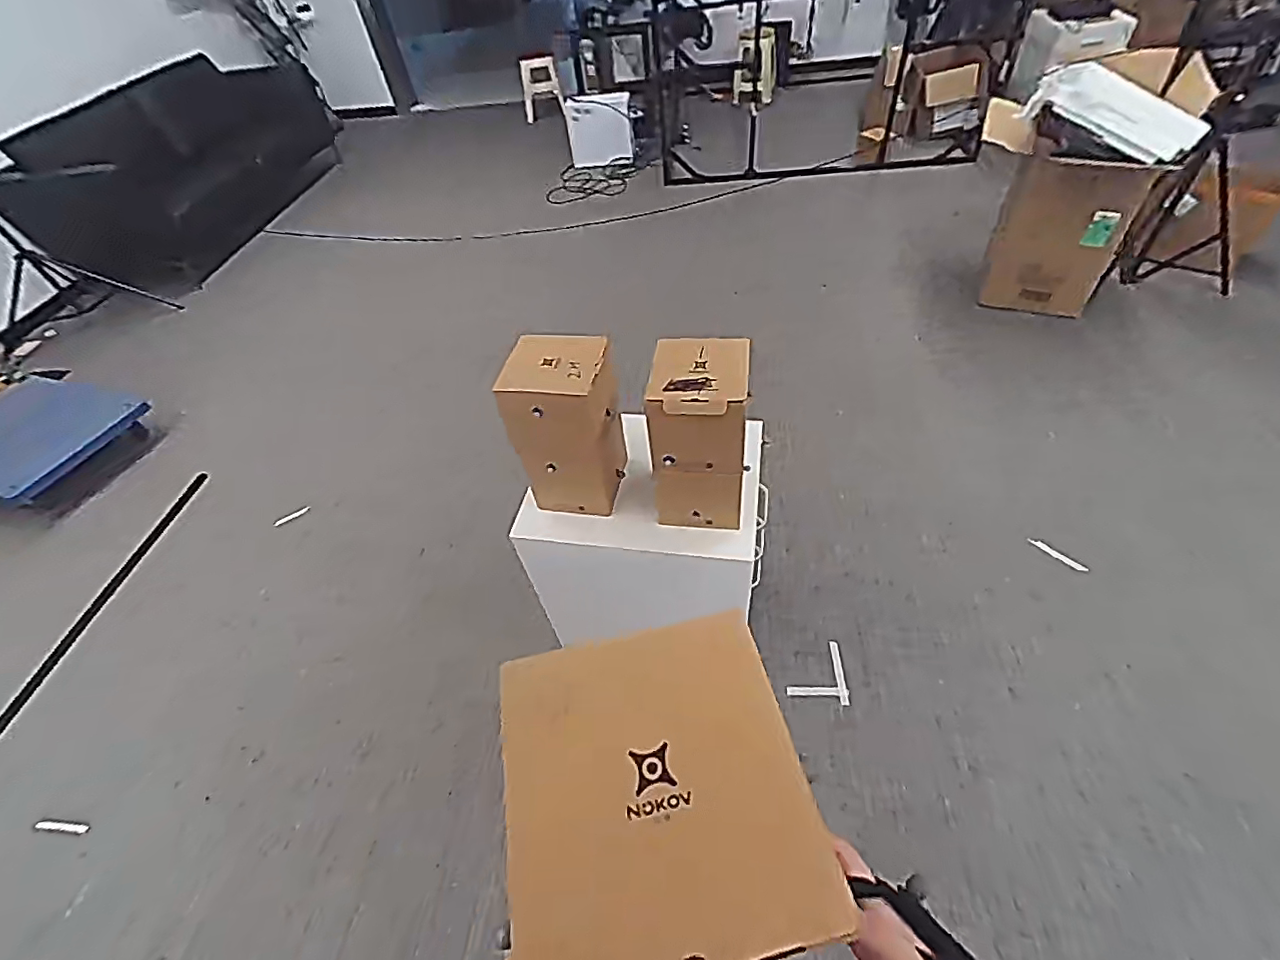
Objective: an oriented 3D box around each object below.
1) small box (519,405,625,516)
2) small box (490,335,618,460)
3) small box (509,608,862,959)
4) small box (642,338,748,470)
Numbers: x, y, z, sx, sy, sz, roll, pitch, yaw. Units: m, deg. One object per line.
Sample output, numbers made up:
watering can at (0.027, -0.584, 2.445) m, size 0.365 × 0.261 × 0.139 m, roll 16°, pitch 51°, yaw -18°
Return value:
small box at (-0.133, -0.049, 1.143) m, size 0.168 × 0.176 × 0.179 m, roll 5°, pitch 49°, yaw 12°
small box at (-0.150, -0.154, 1.016) m, size 0.179 × 0.176 × 0.168 m, roll 5°, pitch 51°, yaw 11°
small box at (0.013, 0.216, 0.364) m, size 0.168 × 0.176 × 0.179 m, roll -11°, pitch 49°, yaw -6°
small box at (0.106, -0.134, 0.967) m, size 0.168 × 0.176 × 0.179 m, roll 3°, pitch 49°, yaw 10°
